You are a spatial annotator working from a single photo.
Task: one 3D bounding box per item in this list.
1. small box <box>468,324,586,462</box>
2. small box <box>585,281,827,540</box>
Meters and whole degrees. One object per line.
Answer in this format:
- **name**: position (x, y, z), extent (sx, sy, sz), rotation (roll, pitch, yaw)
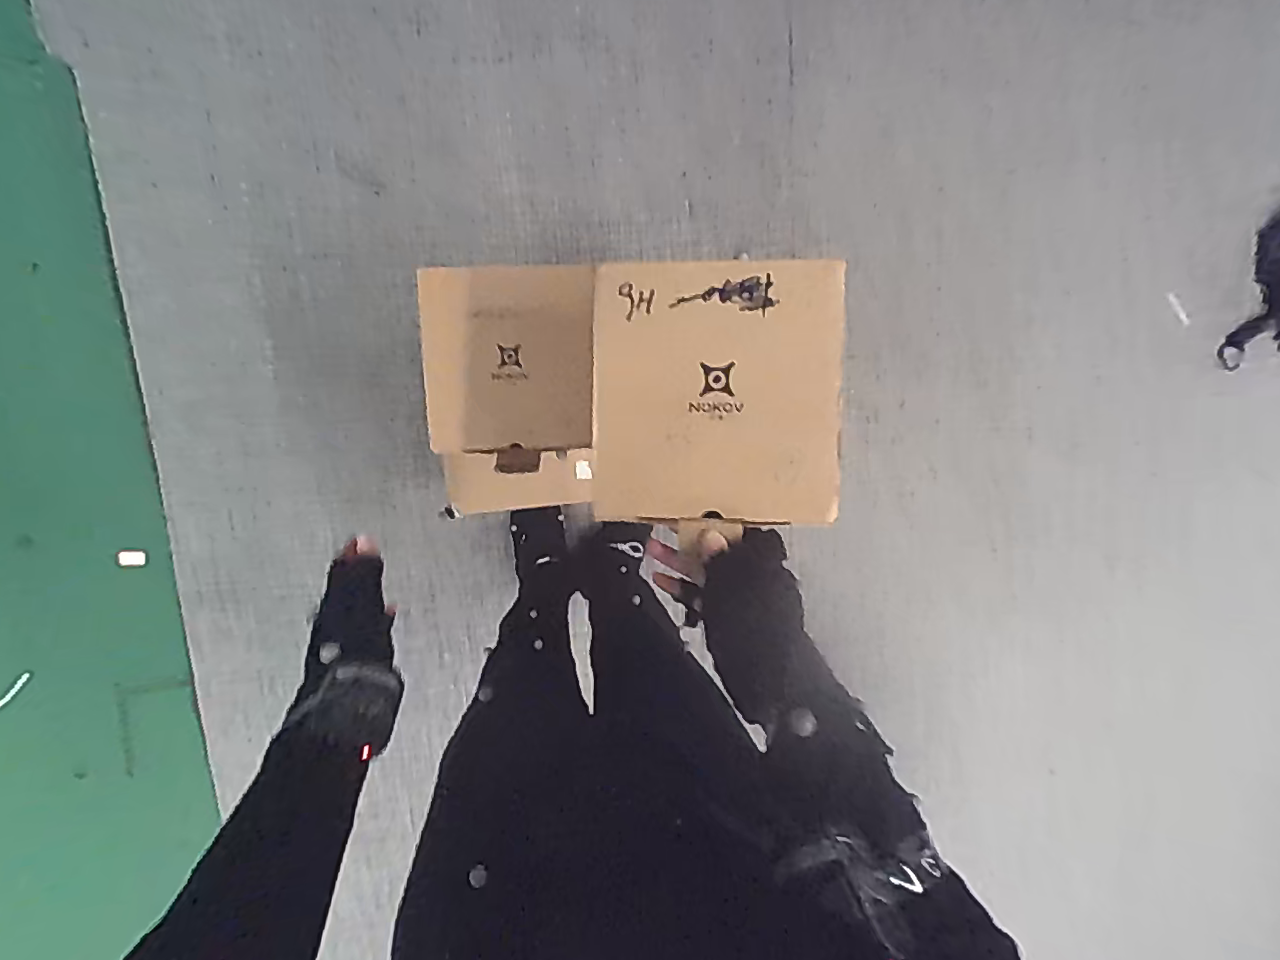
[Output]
- **small box**: position (-0.125, -0.122, 0.765), extent (0.179, 0.176, 0.168), rotation (-6, 98, -1)
- **small box**: position (0.051, -0.050, 0.450), extent (0.168, 0.176, 0.179), rotation (0, 92, 5)
